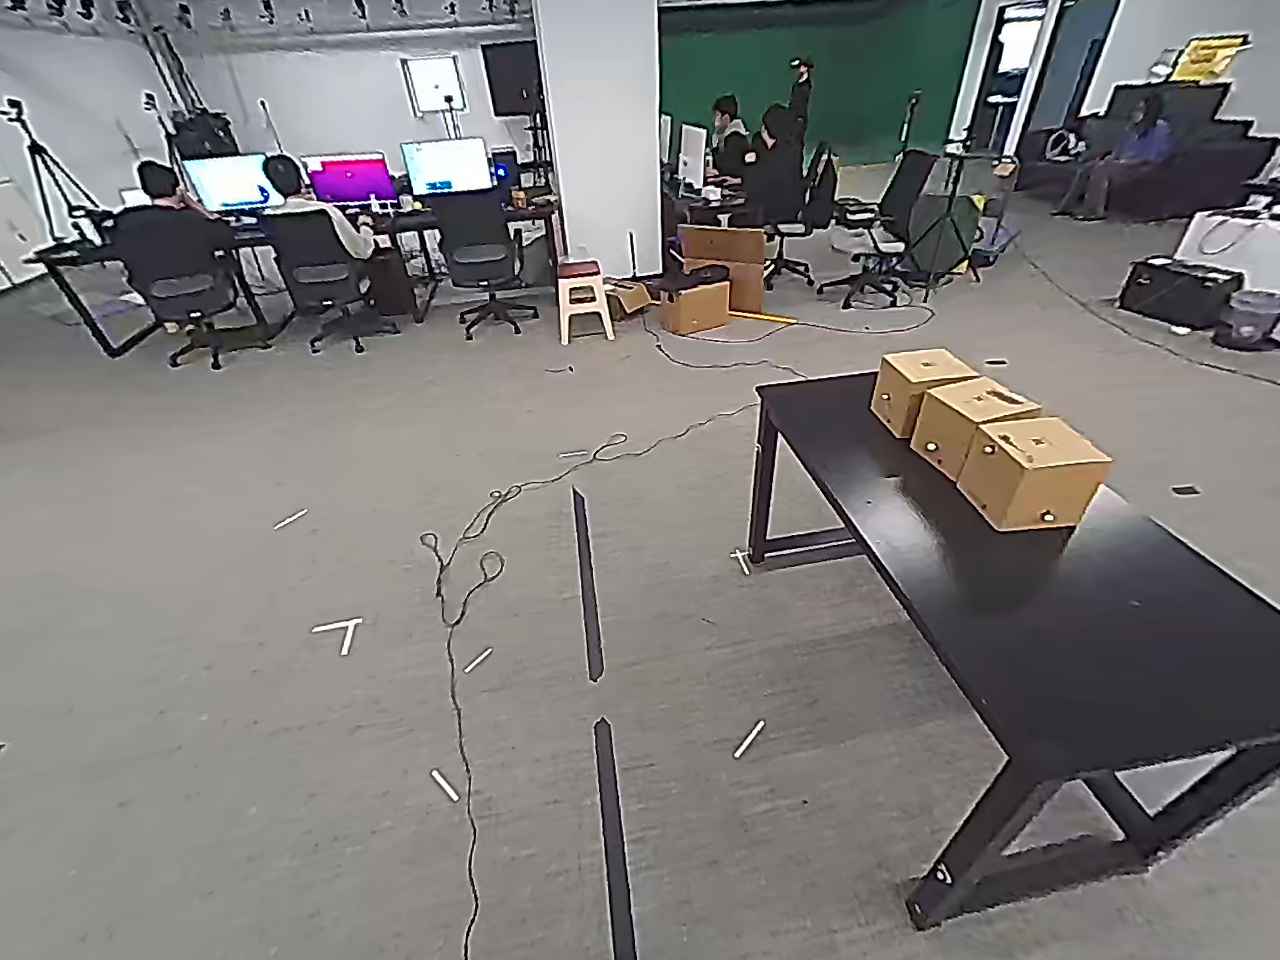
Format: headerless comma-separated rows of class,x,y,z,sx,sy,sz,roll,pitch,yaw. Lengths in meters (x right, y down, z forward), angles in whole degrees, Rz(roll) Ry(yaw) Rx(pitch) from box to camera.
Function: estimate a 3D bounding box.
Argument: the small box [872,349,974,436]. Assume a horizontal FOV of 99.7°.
small box,0.742,-0.231,1.446,0.179,0.176,0.168,-7,37,-3
